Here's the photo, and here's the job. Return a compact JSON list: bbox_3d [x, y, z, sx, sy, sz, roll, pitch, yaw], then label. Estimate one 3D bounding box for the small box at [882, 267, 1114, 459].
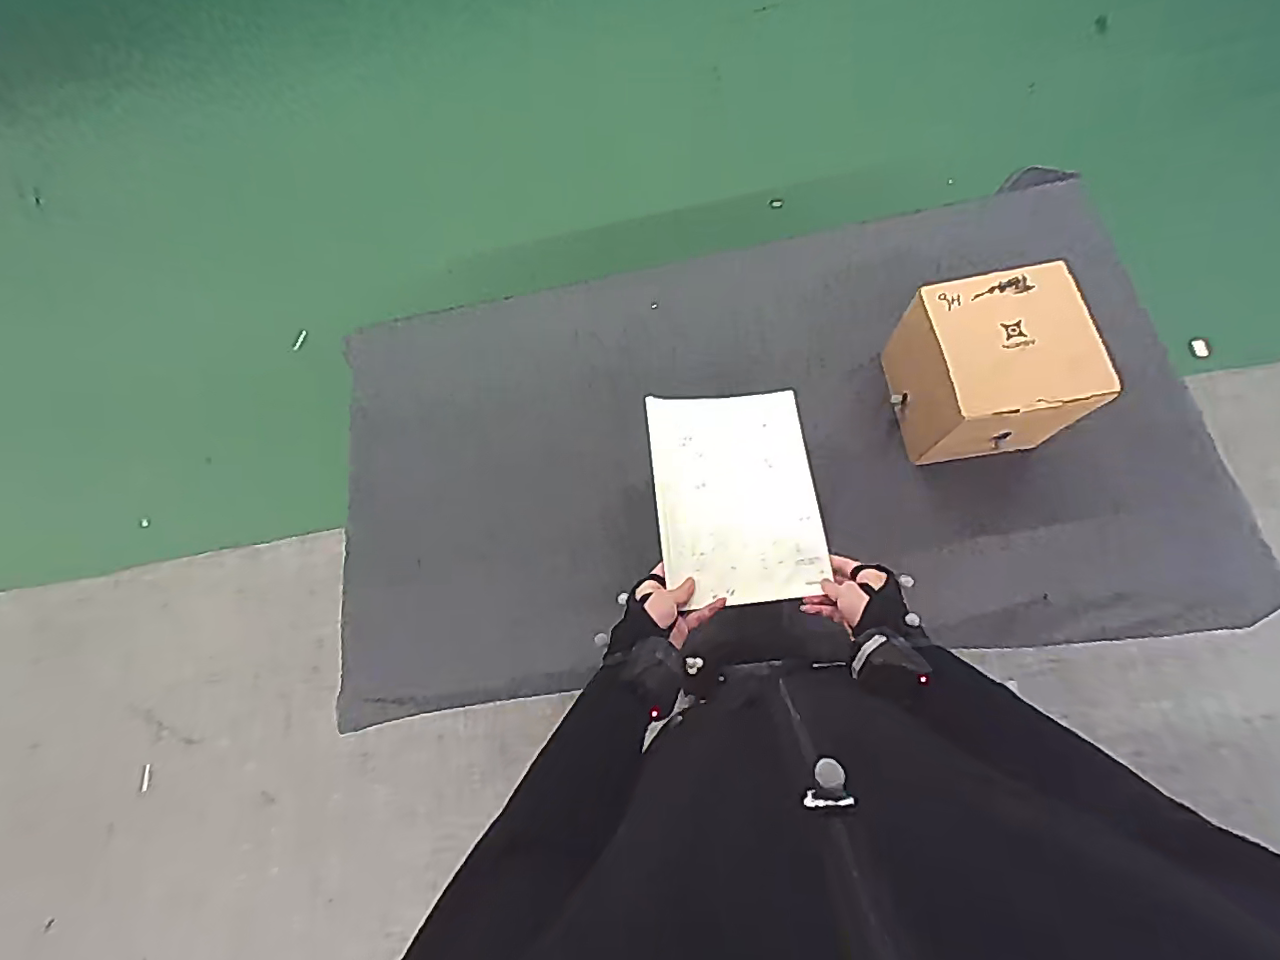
[{"bbox_3d":[0.433,-0.134,0.689,0.168,0.176,0.179,-9,74,5],"label":"small box"}]
